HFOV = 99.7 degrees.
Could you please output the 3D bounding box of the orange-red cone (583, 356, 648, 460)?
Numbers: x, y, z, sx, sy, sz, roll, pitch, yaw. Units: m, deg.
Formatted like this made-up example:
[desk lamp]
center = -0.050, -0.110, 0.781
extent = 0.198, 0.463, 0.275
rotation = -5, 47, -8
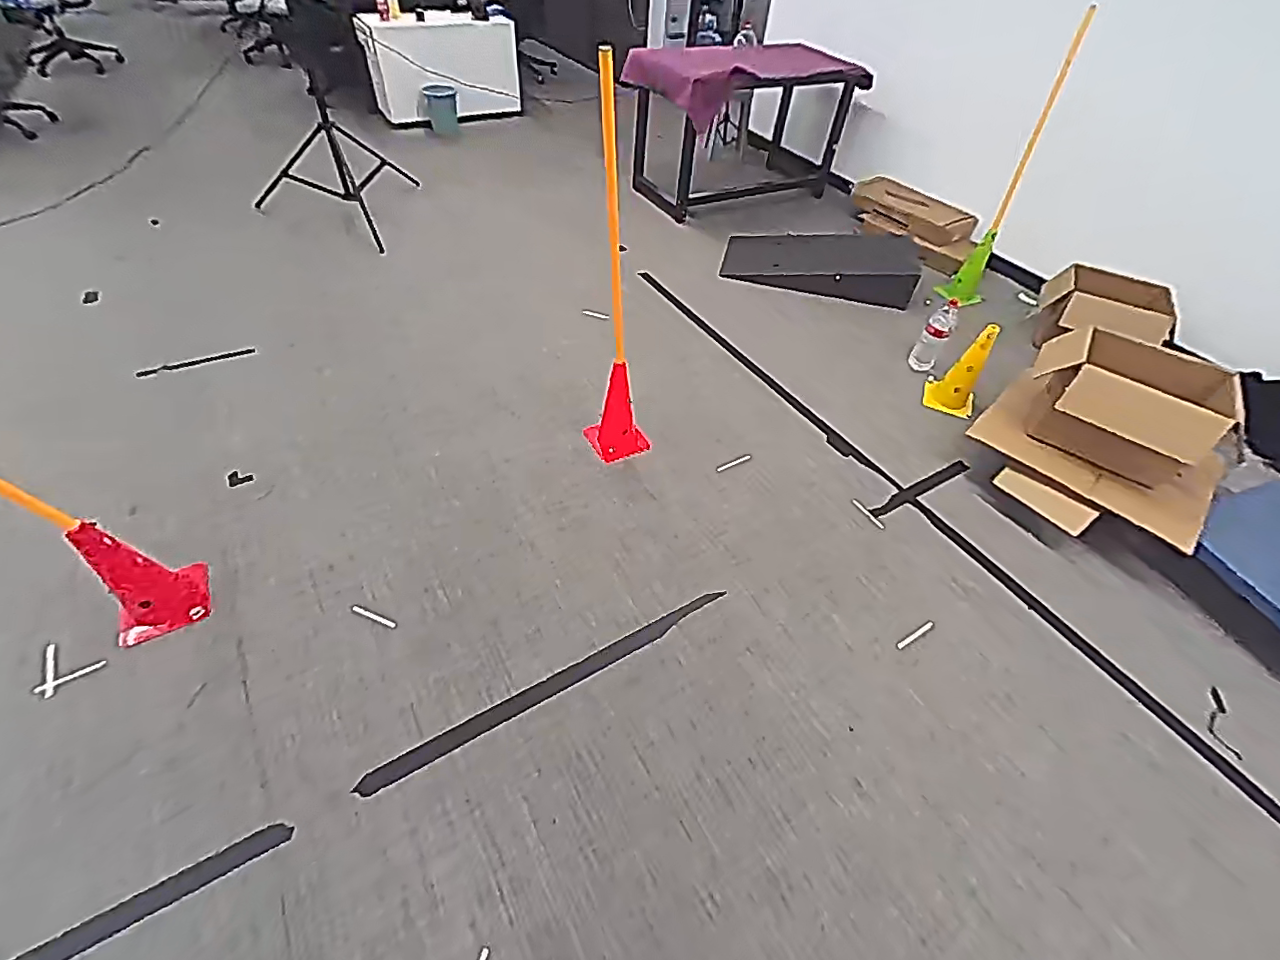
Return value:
[orange-red cone]
center = -0.079, -0.276, 1.880
extent = 0.199, 0.360, 0.198
rotation = -19, 54, -21
